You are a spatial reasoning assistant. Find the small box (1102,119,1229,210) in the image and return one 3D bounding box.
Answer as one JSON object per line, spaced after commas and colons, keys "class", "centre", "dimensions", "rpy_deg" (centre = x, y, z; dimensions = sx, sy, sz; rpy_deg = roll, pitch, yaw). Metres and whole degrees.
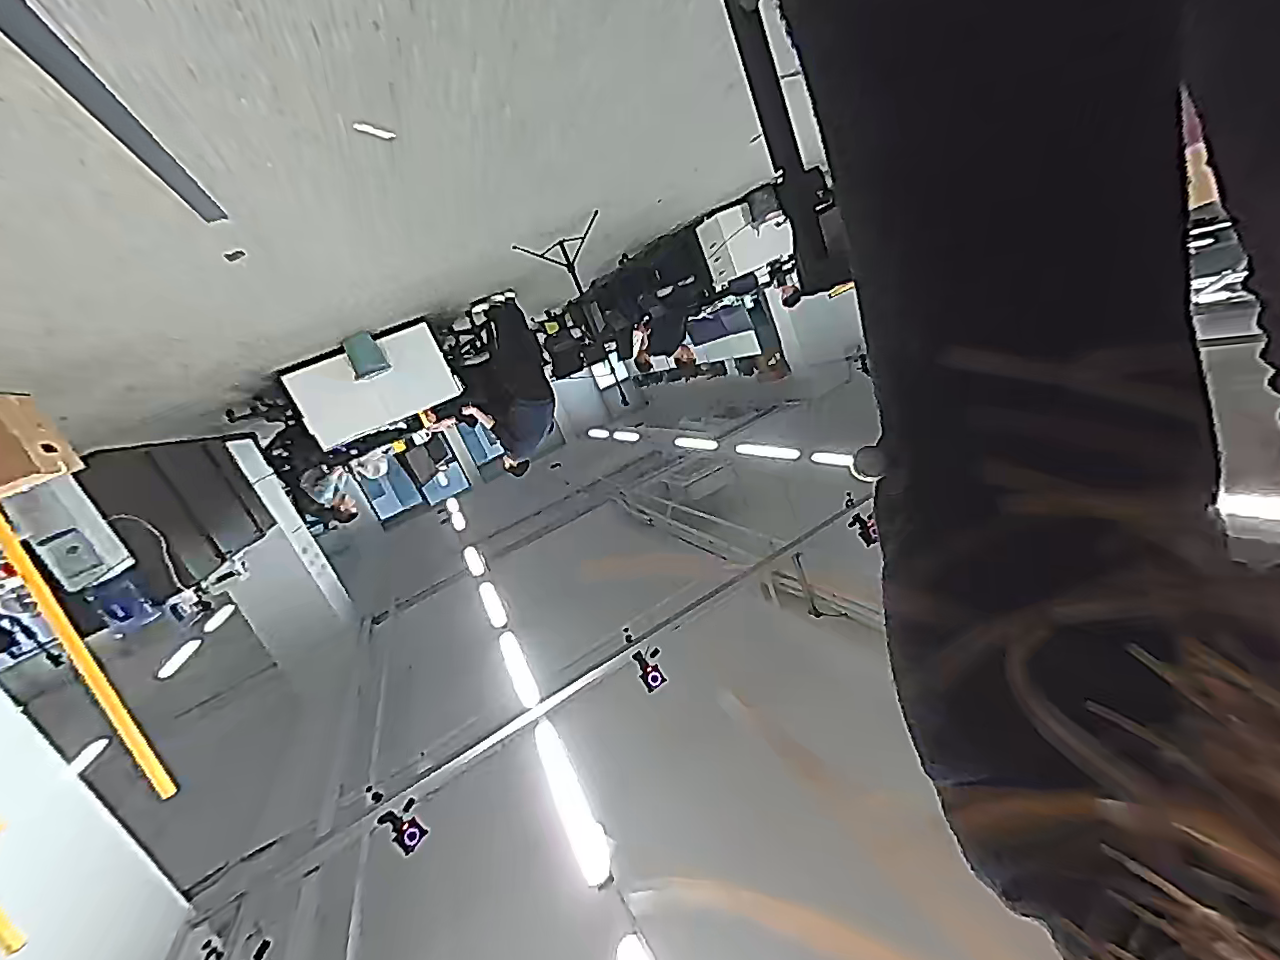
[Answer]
{"class": "small box", "centre": [1.341, -0.794, 1.388], "dimensions": [0.168, 0.176, 0.179], "rpy_deg": [-25, -164, -9]}
